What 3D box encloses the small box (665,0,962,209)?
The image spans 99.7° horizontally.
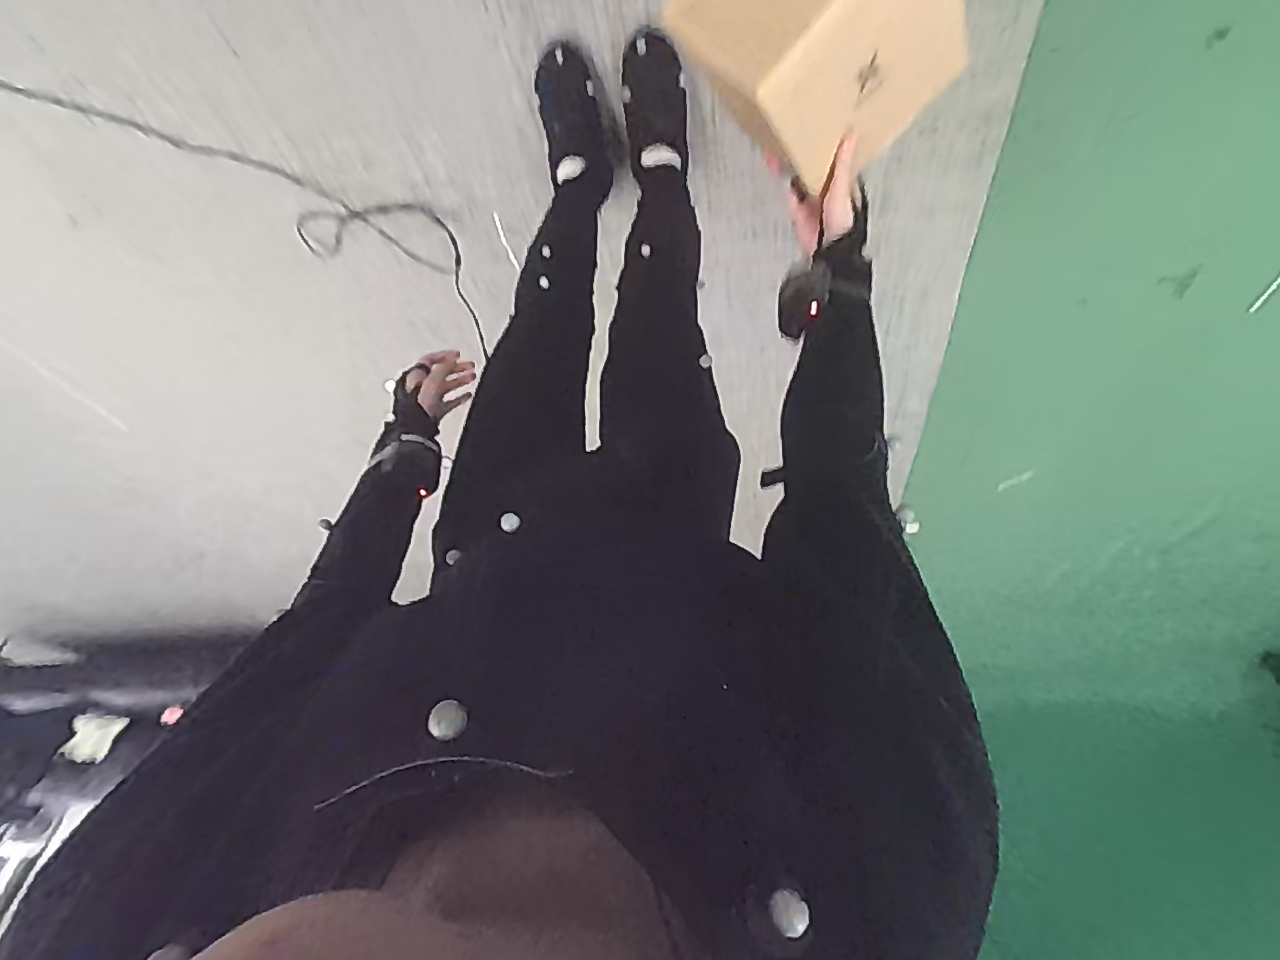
[{"bbox_3d":[0.153,-0.399,0.492,0.168,0.176,0.179,-43,152,24],"label":"small box"}]
